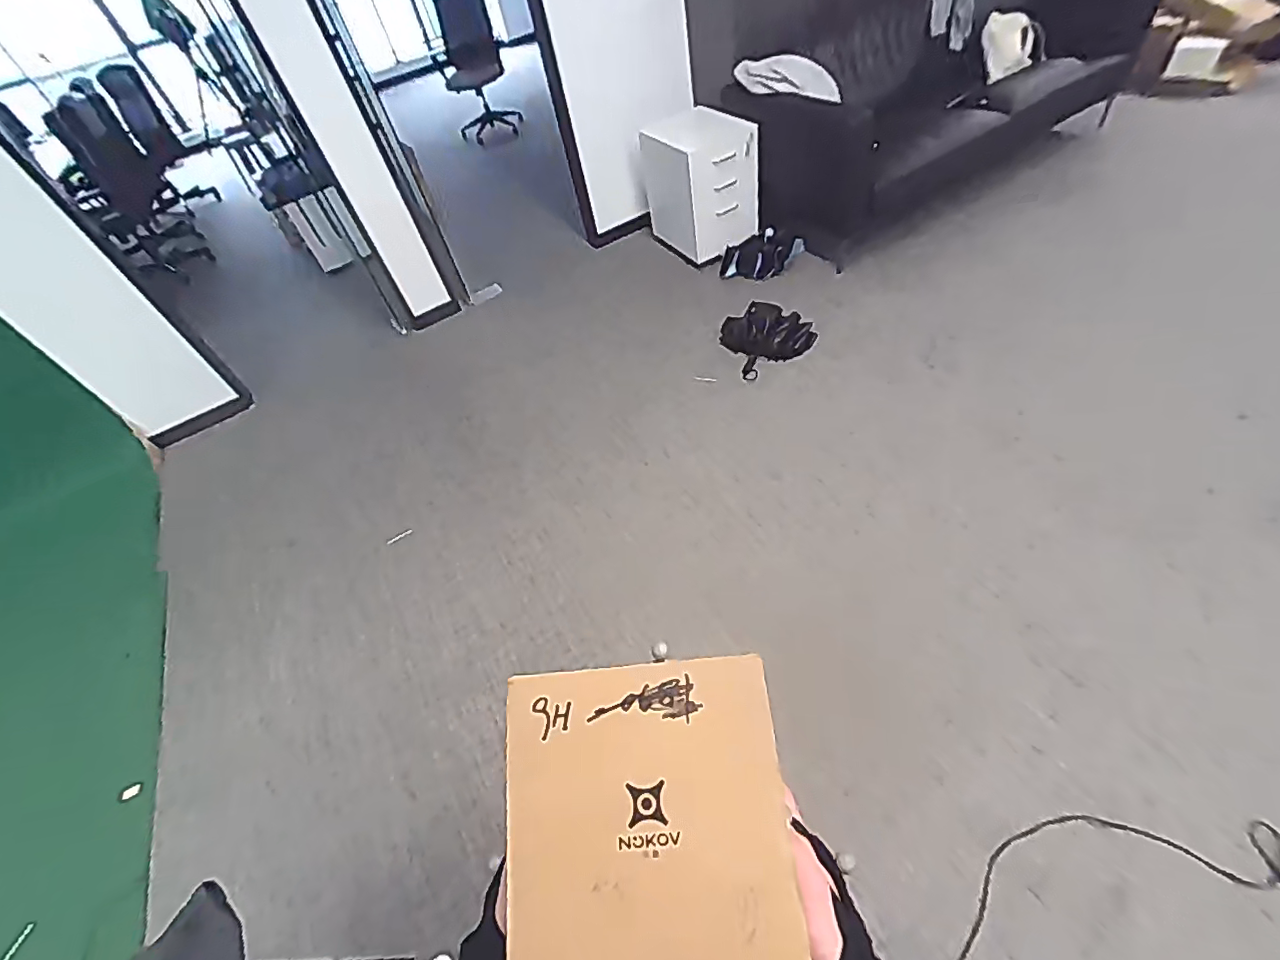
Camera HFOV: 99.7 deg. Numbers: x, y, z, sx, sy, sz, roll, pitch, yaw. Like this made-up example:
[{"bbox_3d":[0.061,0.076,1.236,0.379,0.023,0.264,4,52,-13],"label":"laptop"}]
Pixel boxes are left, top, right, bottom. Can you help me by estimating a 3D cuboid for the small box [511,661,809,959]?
[{"bbox_3d":[0.010,0.230,0.391,0.168,0.176,0.179,-5,69,1],"label":"small box"}]
